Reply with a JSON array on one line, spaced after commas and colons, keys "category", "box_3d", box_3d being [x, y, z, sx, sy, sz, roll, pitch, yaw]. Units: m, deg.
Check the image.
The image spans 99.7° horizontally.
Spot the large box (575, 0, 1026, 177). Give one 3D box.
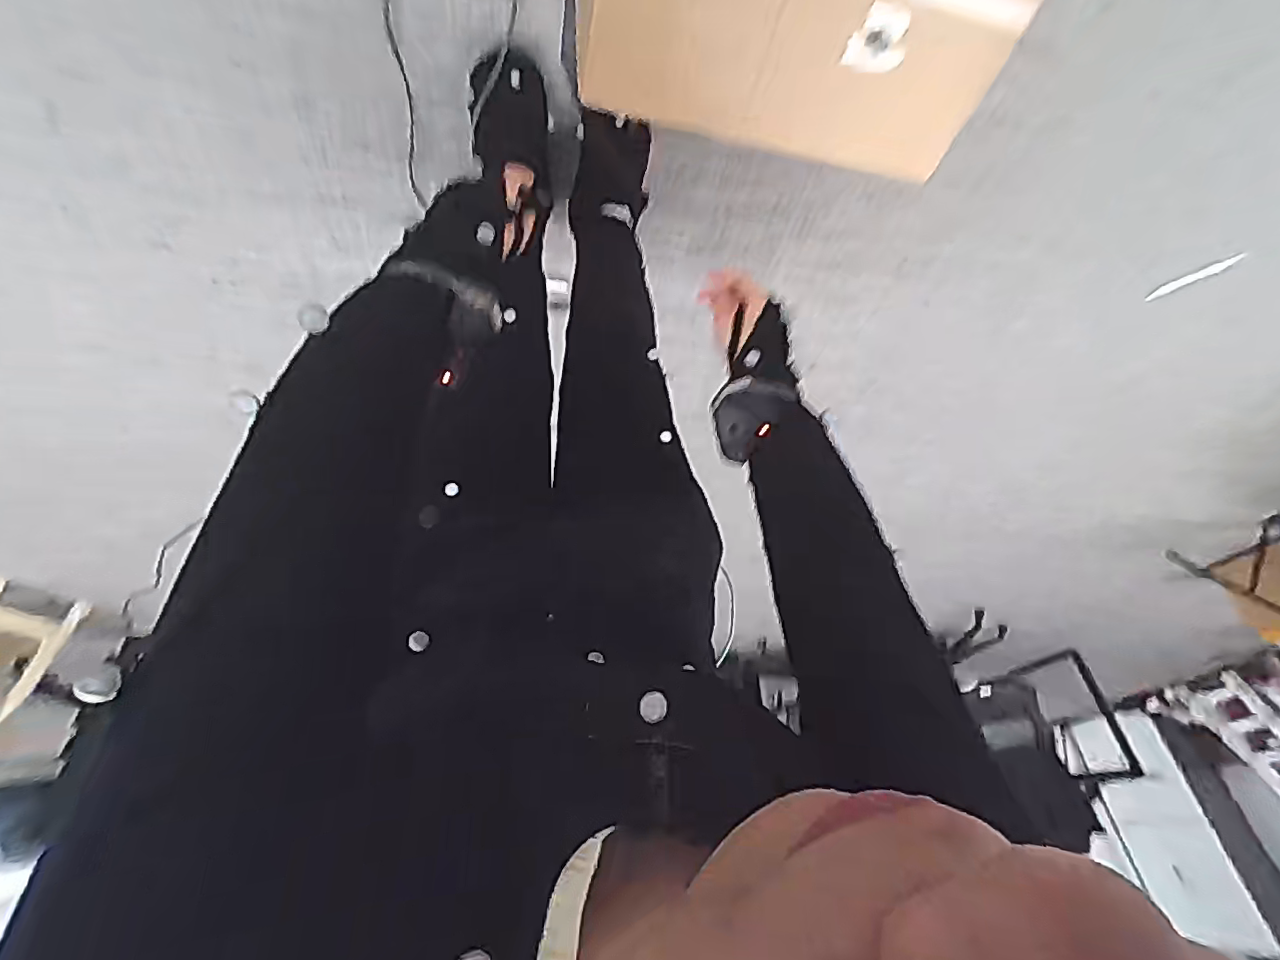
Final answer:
[{"category": "large box", "box_3d": [0.150, -0.574, 0.558, 0.408, 0.320, 0.320, 4, 143, -14]}]
